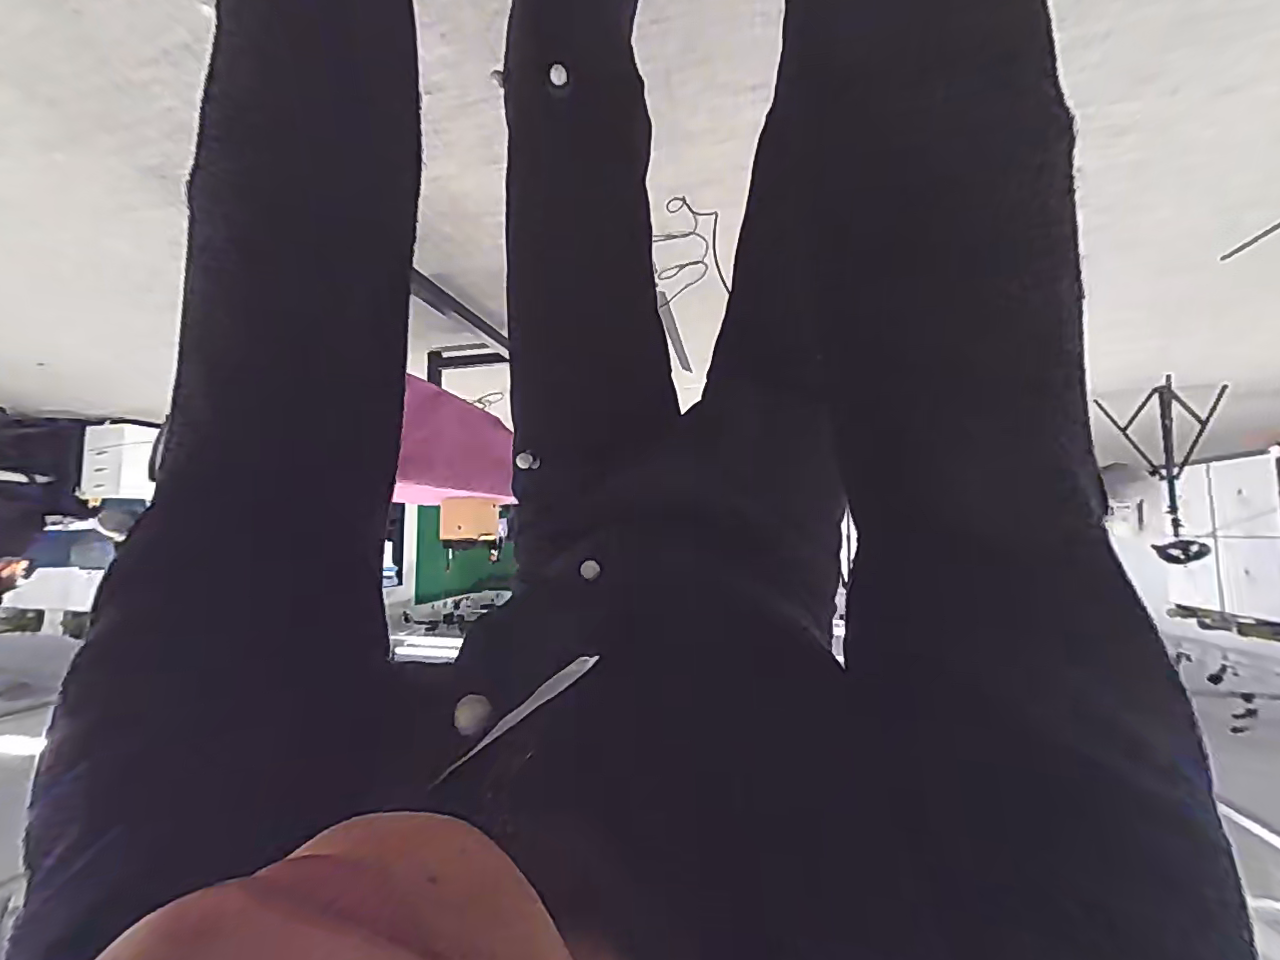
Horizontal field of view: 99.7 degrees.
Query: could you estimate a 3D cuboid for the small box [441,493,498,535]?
[{"bbox_3d":[-0.719,0.142,2.281,0.179,0.176,0.168,-2,175,21],"label":"small box"}]
